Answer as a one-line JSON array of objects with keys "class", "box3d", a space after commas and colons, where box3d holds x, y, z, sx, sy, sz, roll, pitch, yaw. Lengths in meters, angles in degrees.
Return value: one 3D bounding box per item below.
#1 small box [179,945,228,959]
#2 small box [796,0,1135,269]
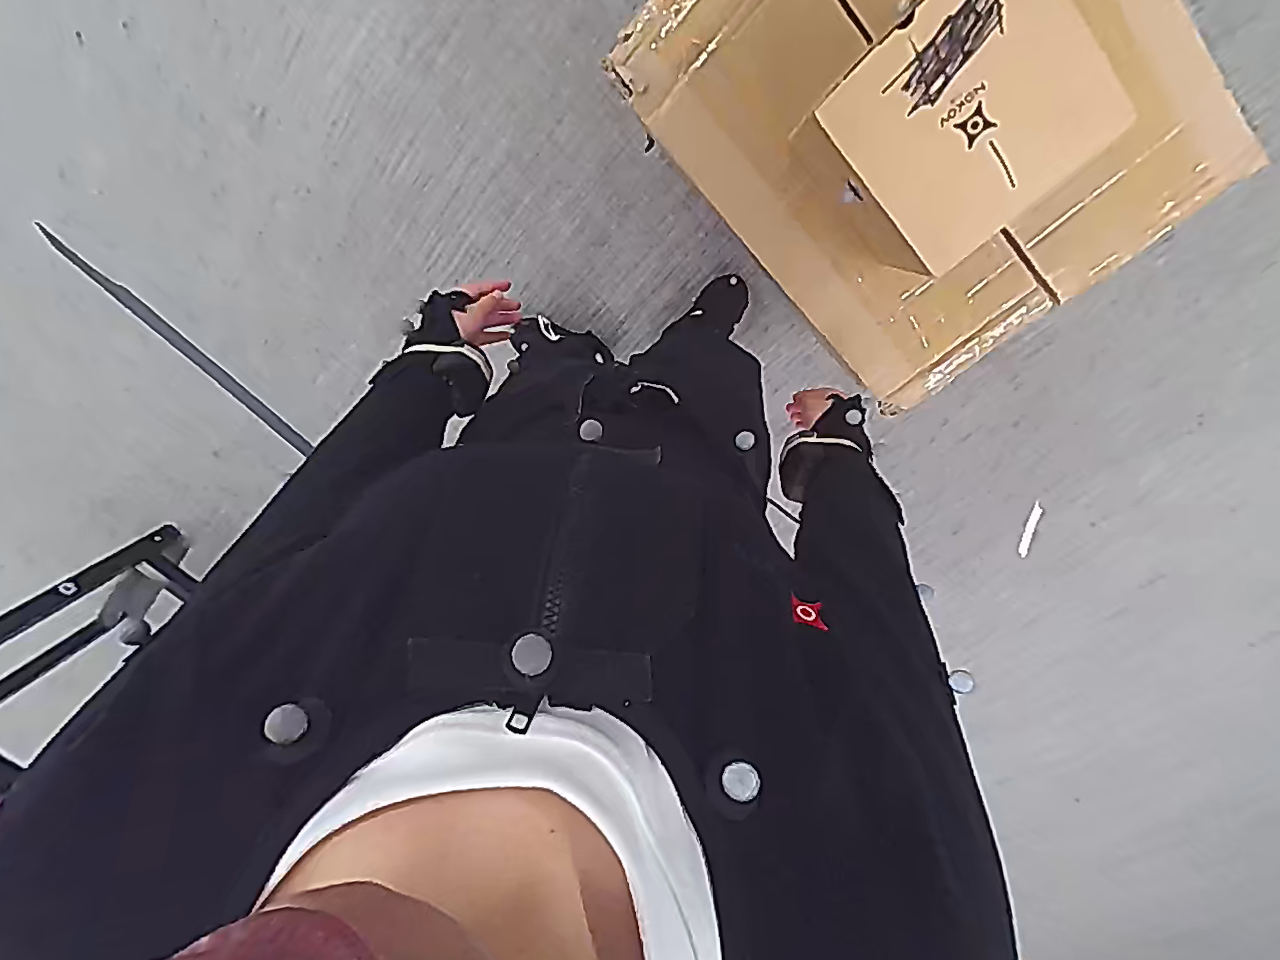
[{"class": "small box", "box3d": [-1.078, 1.255, 1.283, 0.168, 0.176, 0.179, 38, 115, -9]}, {"class": "small box", "box3d": [0.260, -0.315, 0.481, 0.168, 0.176, 0.179, -39, 104, 23]}]
